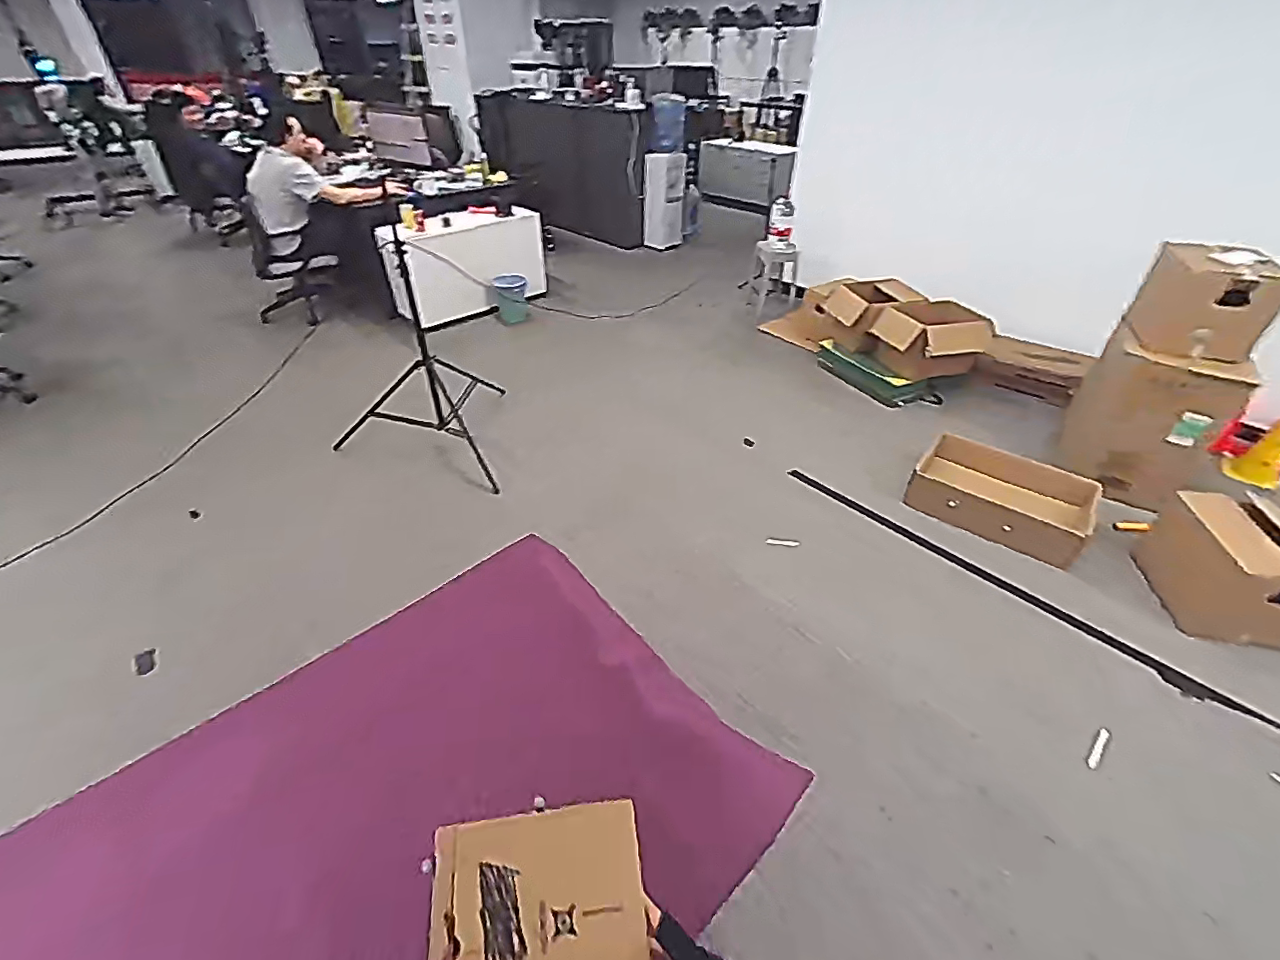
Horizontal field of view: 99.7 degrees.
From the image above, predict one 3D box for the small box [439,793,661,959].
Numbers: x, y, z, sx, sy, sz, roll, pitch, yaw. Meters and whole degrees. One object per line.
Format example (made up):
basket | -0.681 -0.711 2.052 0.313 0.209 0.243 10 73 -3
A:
small box | -0.098 0.416 0.528 0.179 0.176 0.168 6 57 -24
